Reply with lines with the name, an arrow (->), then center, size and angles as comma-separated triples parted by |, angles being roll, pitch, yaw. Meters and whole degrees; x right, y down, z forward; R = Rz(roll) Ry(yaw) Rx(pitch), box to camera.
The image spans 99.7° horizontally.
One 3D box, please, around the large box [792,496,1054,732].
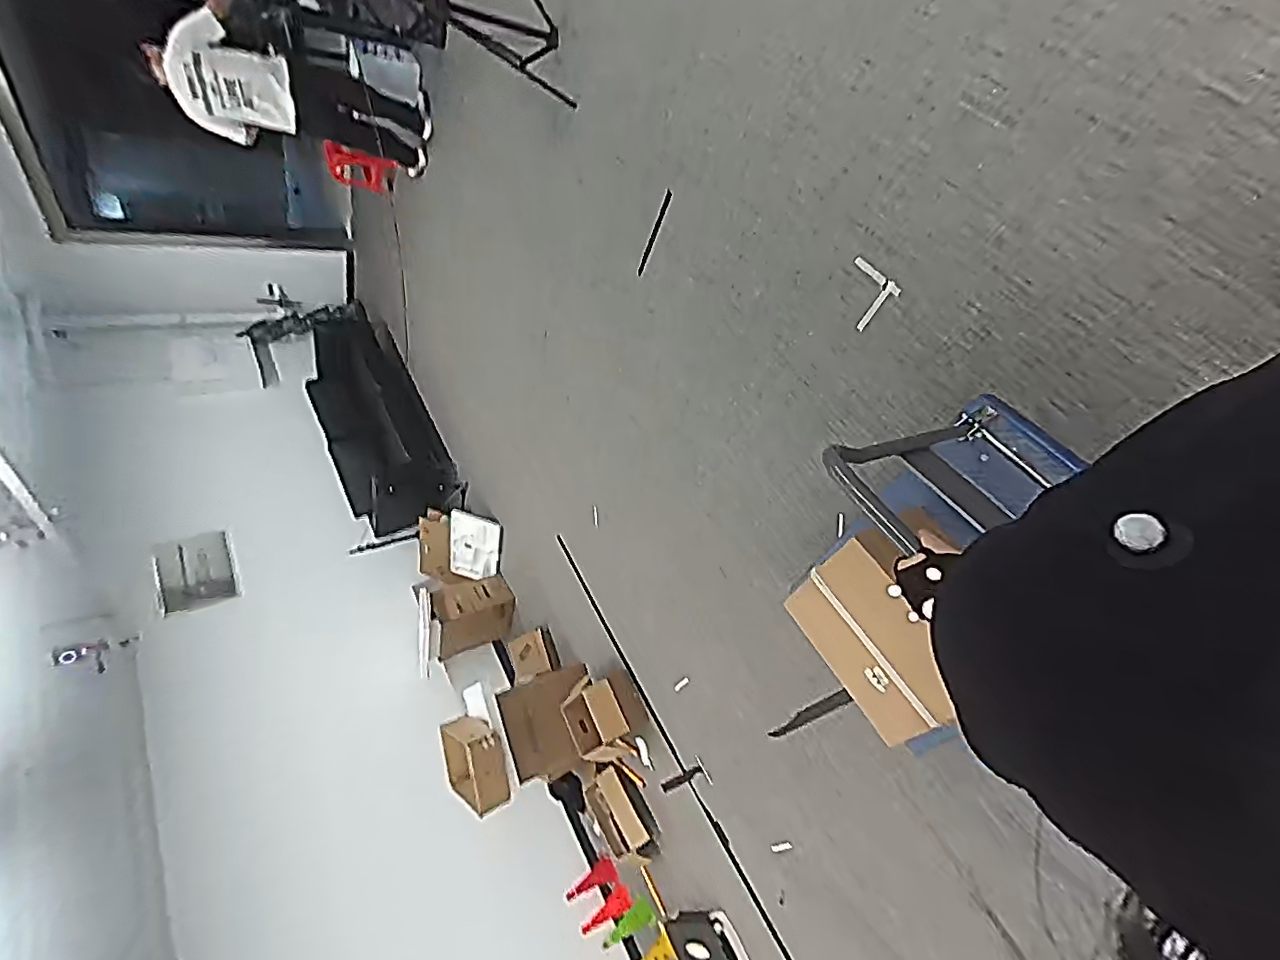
large box -> 0.665, 0.307, 1.312 | 0.408, 0.320, 0.320 | 54, 140, 25
